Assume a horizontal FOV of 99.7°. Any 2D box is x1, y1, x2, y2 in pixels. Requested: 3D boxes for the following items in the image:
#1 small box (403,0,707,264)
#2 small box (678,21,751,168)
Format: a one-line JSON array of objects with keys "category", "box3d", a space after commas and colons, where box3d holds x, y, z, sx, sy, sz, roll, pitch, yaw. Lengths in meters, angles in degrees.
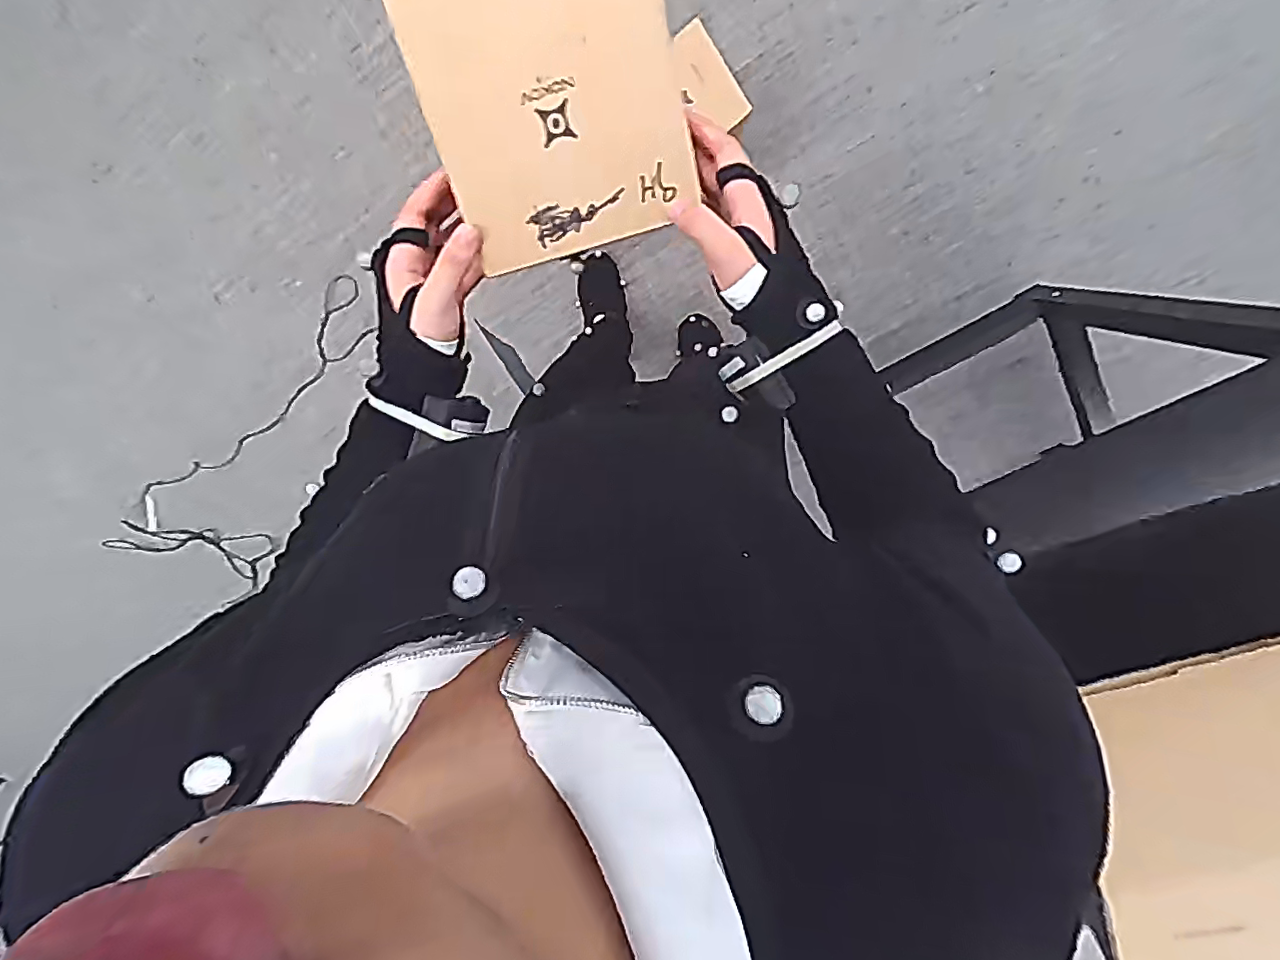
[{"category": "small box", "box3d": [-0.051, -0.282, 0.428, 0.168, 0.176, 0.179, -13, 113, 7]}, {"category": "small box", "box3d": [0.081, -0.668, 0.994, 0.179, 0.176, 0.168, -35, 106, 16]}]
